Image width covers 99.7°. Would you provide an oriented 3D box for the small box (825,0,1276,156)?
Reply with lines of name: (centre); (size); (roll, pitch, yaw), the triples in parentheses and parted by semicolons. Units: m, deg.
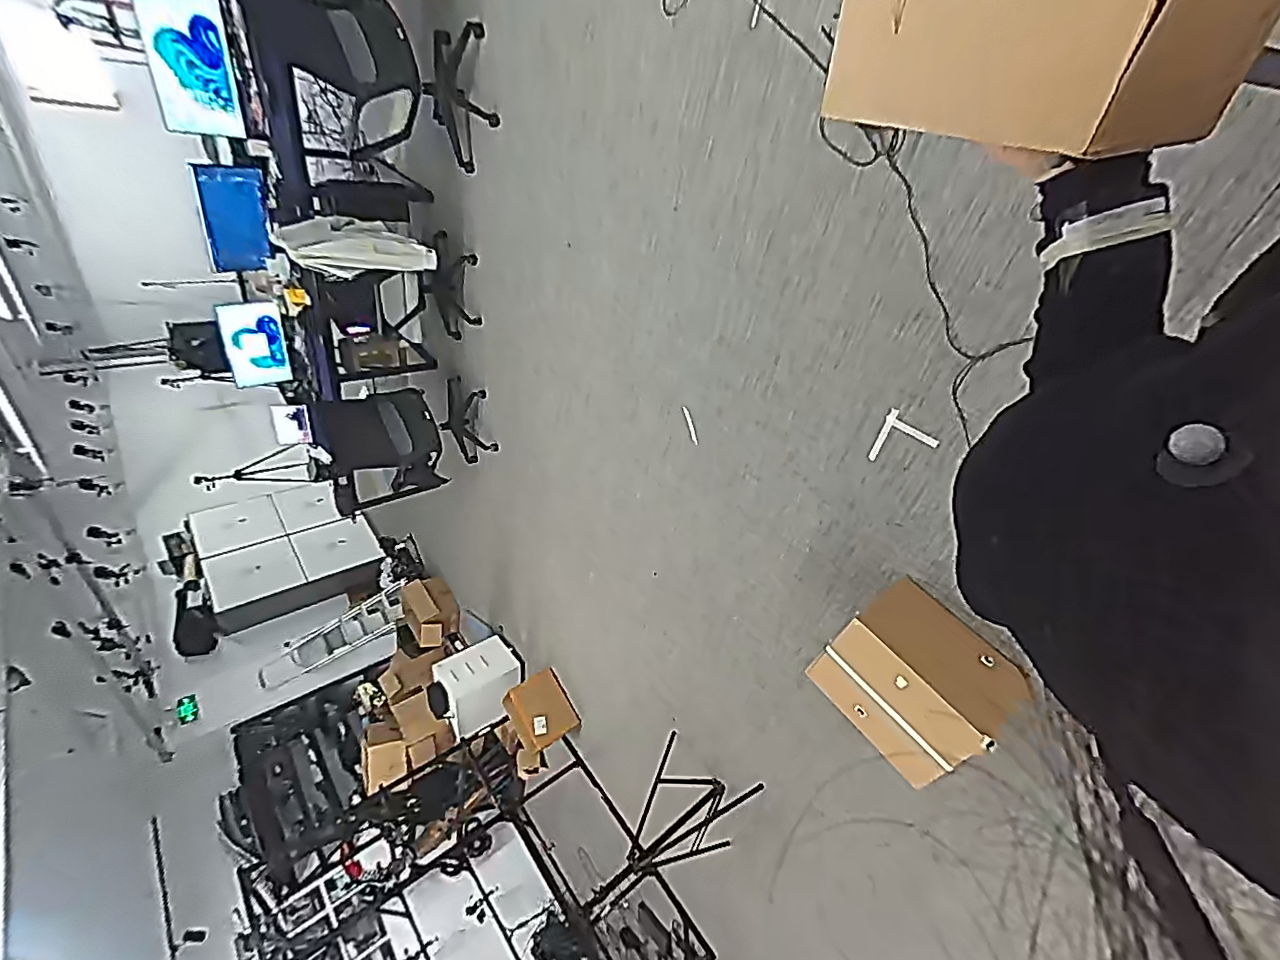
small box: (0.245, -0.297, 0.306); (0.179, 0.176, 0.168); (45, 145, 40)
